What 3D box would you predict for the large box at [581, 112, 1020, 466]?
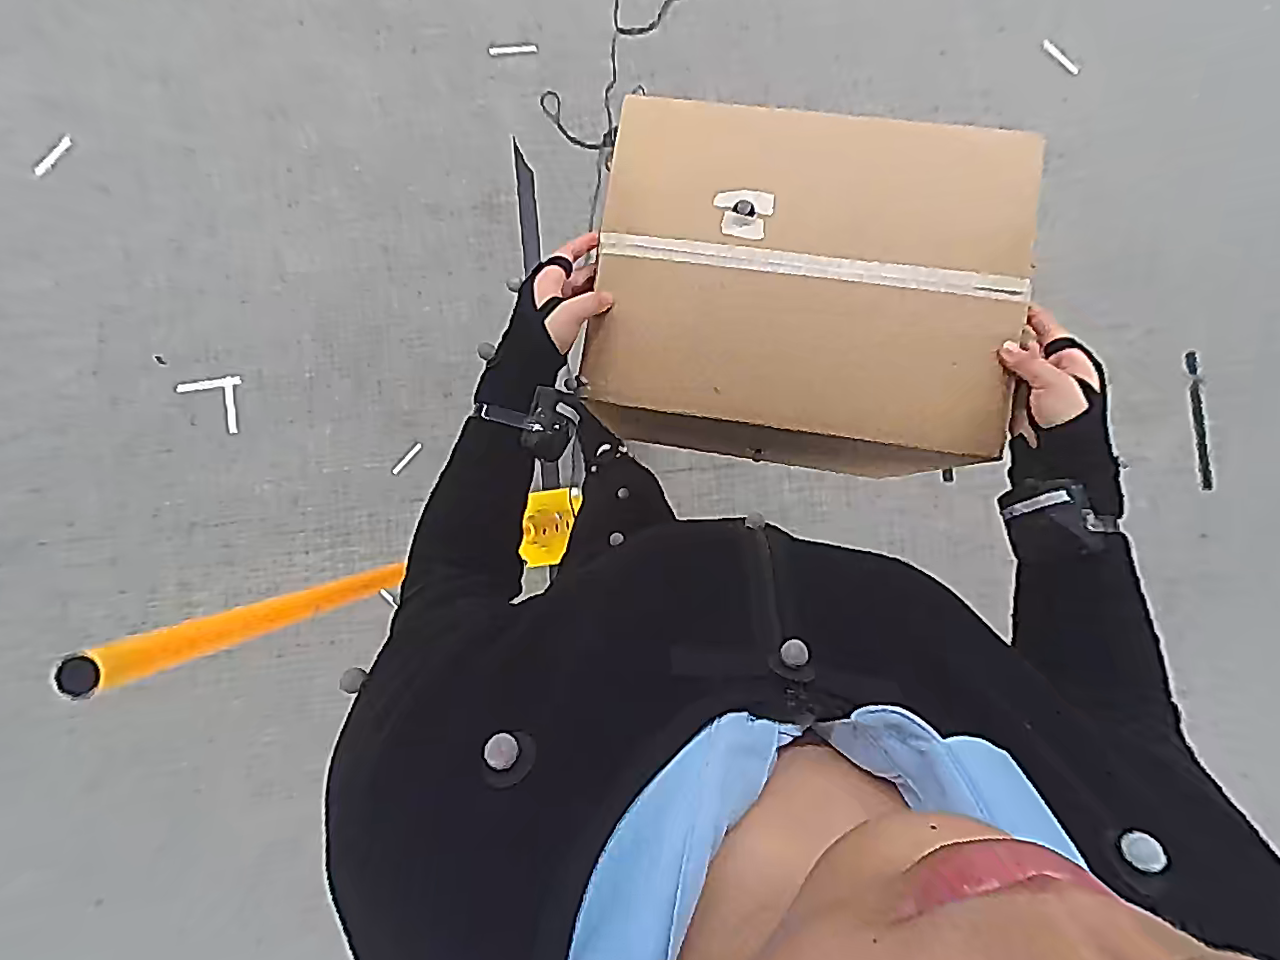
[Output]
[{"bbox_3d":[0.170,-0.199,0.683,0.408,0.320,0.320,8,86,6],"label":"large box"}]
